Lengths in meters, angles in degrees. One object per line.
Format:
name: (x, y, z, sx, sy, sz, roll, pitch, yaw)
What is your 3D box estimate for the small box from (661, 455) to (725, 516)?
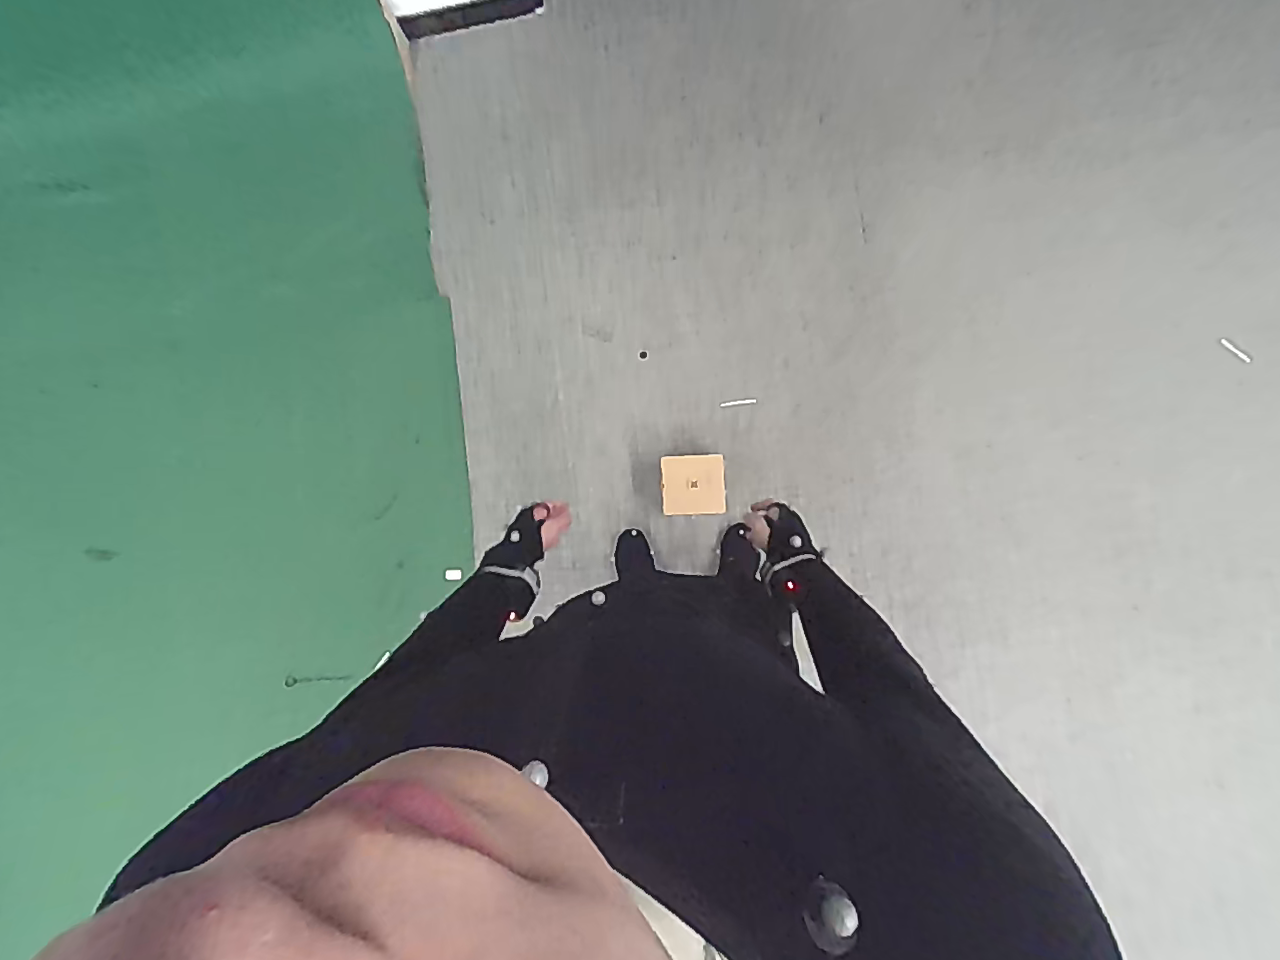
small box: (0.154, 0.020, 1.576, 0.179, 0.176, 0.168, -2, 86, 5)
